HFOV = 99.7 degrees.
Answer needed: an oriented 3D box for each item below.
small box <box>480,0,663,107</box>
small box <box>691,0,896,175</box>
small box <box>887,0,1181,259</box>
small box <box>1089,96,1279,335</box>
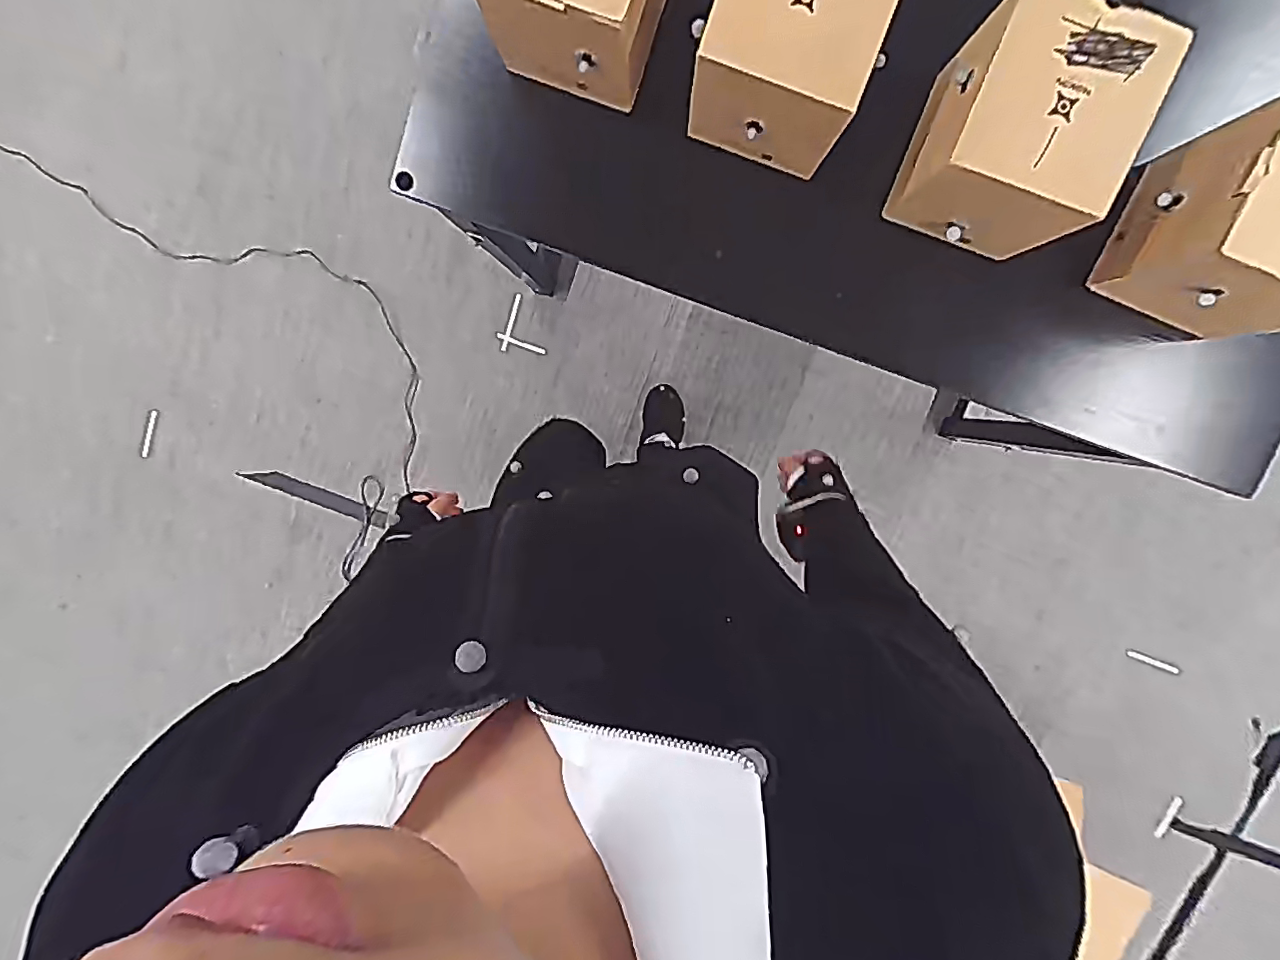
[{"bbox_3d":[-0.065,-0.554,0.586,0.168,0.176,0.179,18,97,-3],"label":"small box"},{"bbox_3d":[0.160,-0.471,0.588,0.168,0.176,0.179,20,98,-2],"label":"small box"},{"bbox_3d":[0.406,-0.372,0.596,0.168,0.176,0.179,20,99,-1],"label":"small box"},{"bbox_3d":[0.669,-0.274,0.602,0.179,0.176,0.168,23,98,-1],"label":"small box"}]
